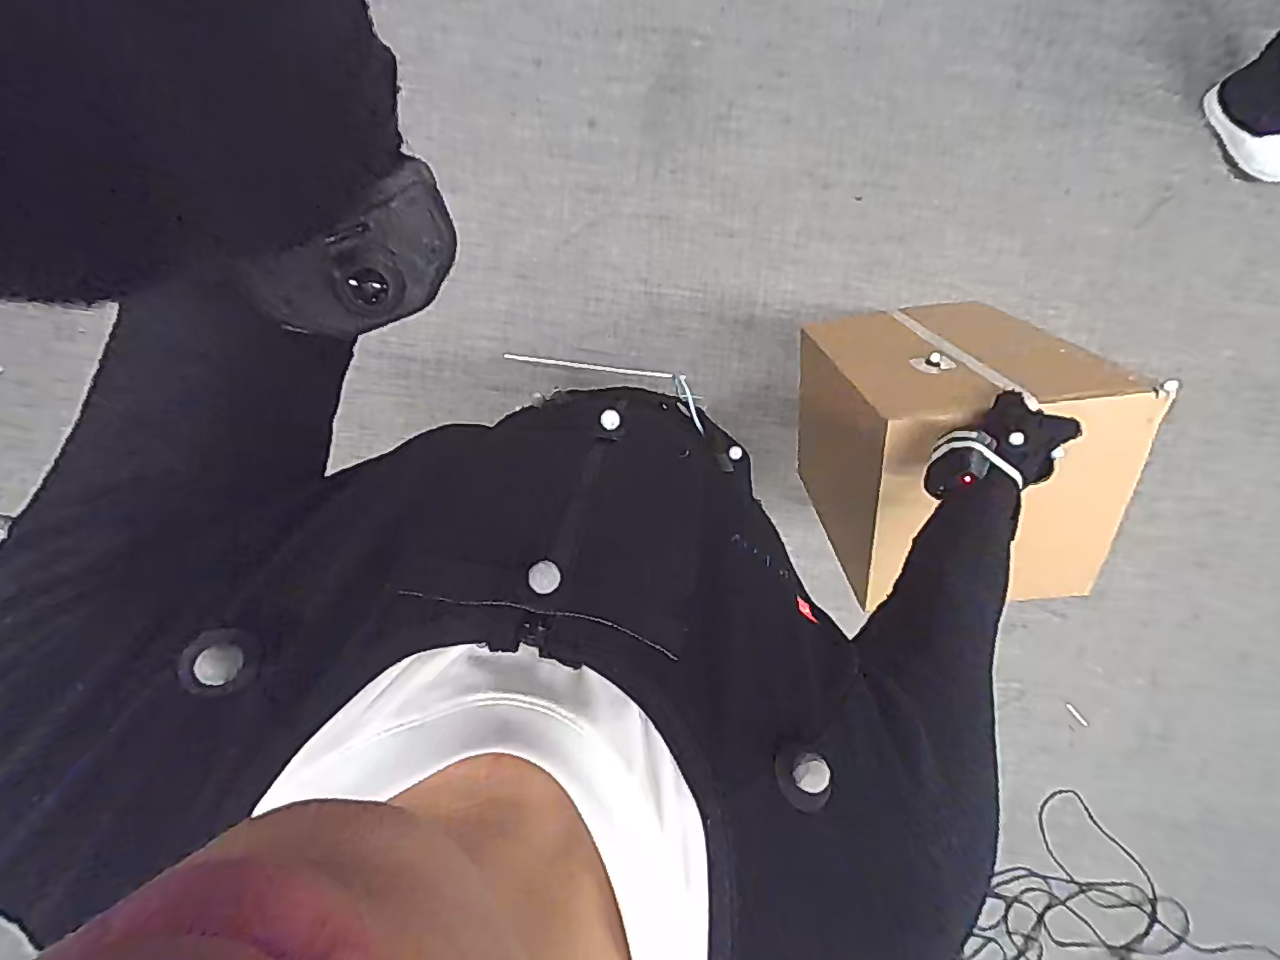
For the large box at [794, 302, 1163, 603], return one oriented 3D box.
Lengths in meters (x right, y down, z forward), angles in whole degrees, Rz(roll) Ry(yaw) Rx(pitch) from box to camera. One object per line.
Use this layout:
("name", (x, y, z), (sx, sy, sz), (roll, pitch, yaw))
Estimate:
("large box", (0.455, -0.064, 0.865), (0.320, 0.408, 0.320), (-6, 123, 3))
